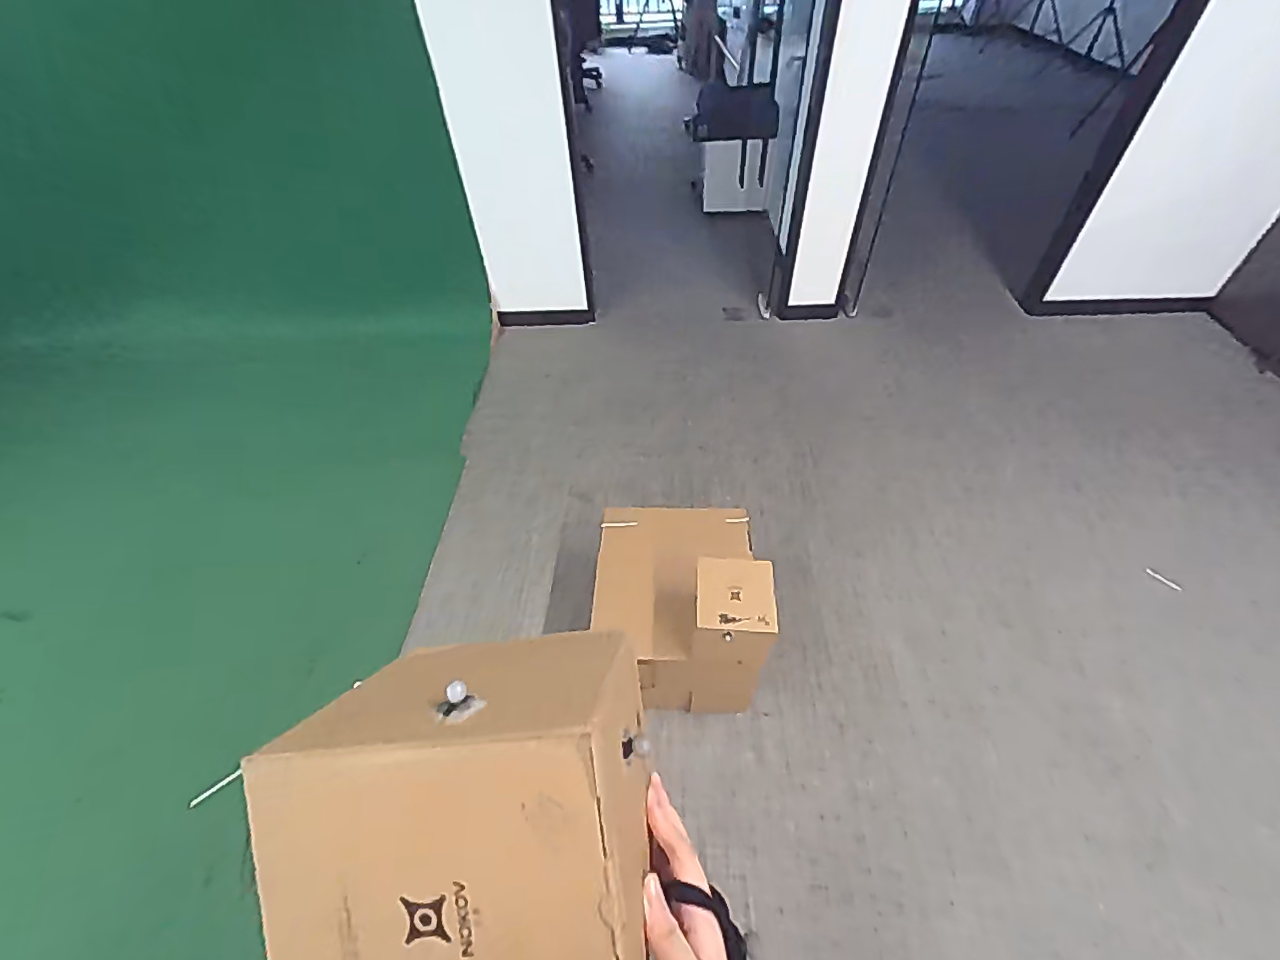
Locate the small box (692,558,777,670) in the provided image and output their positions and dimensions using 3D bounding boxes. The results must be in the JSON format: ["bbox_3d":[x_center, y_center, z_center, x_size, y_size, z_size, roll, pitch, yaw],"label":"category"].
[{"bbox_3d":[0.204,0.296,1.200,0.168,0.176,0.179,3,46,5],"label":"small box"}]

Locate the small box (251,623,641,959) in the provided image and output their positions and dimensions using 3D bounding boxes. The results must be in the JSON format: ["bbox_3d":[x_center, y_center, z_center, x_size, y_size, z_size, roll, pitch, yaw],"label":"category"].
[{"bbox_3d":[-0.094,0.196,0.343,0.179,0.176,0.168,-6,90,6],"label":"small box"}]
